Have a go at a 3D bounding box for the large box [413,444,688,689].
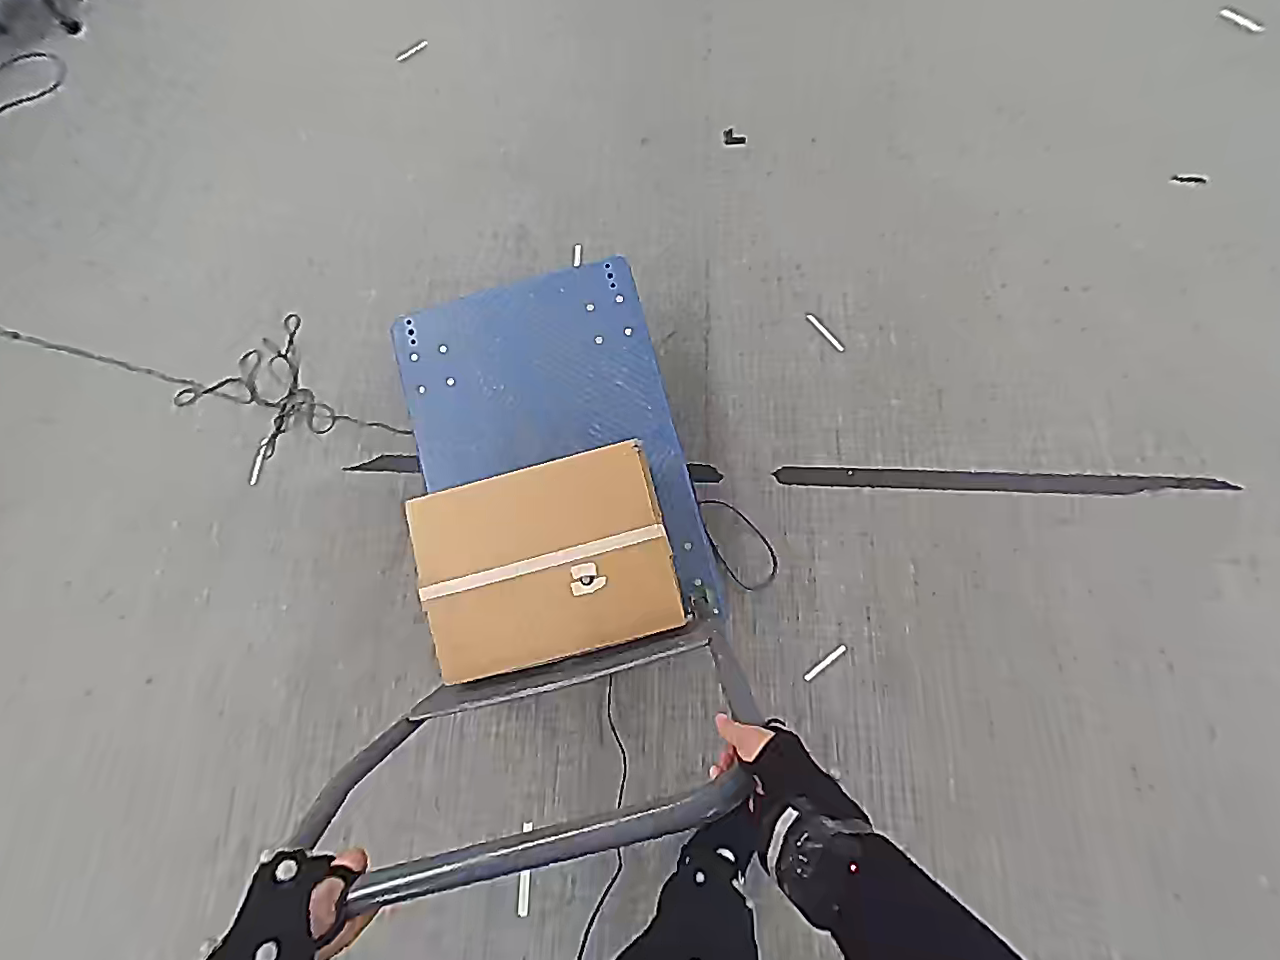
[{"bbox_3d":[-0.147,0.157,1.035,0.408,0.320,0.320,-16,84,1],"label":"large box"}]
